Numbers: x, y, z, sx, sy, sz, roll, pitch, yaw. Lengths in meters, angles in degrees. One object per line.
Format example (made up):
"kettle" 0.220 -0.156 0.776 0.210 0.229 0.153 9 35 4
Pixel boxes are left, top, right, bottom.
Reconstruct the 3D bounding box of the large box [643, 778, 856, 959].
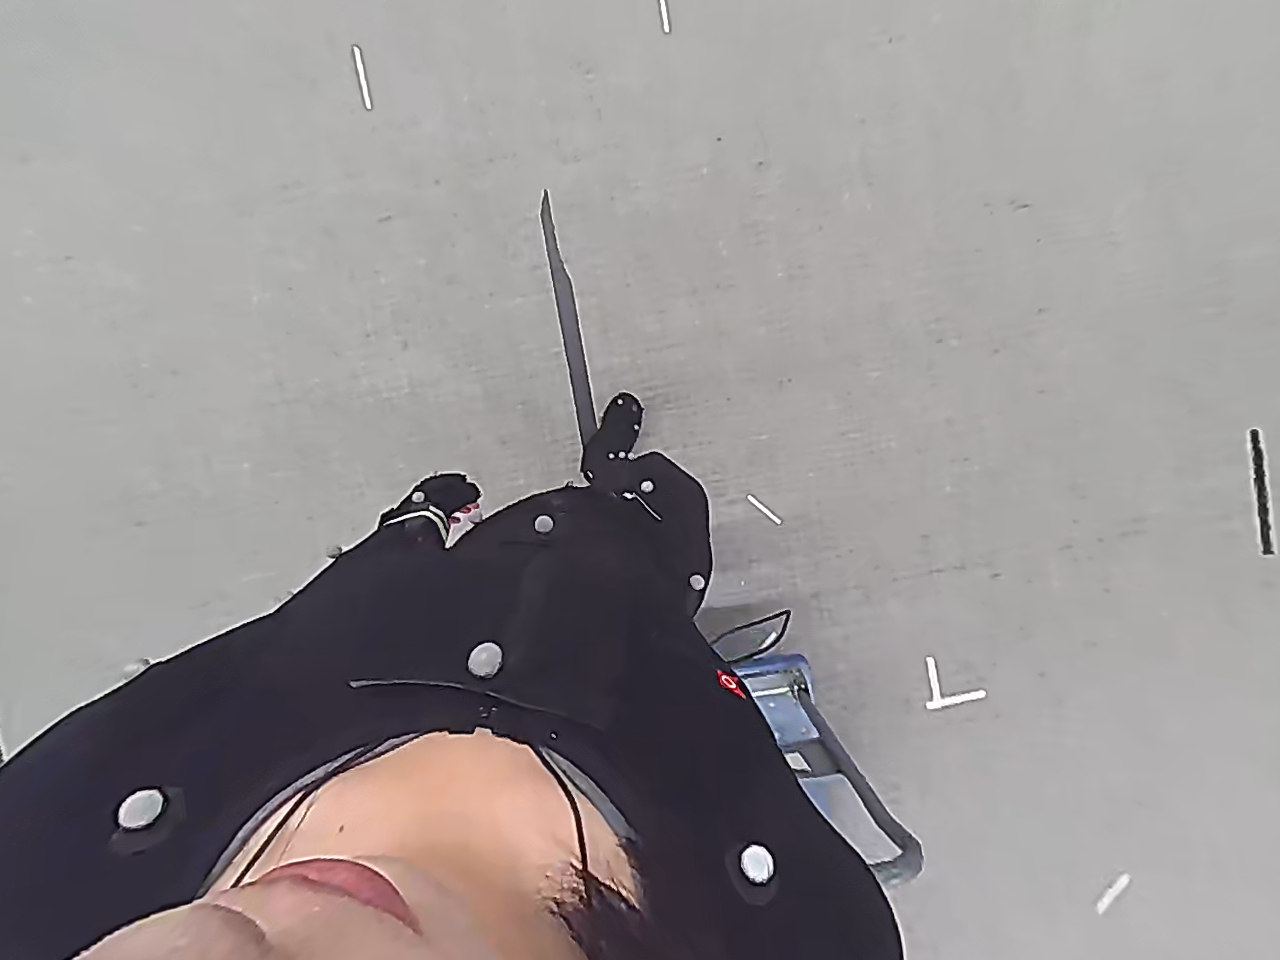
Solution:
"large box" 0.240 0.973 1.260 0.408 0.320 0.320 -16 94 2
